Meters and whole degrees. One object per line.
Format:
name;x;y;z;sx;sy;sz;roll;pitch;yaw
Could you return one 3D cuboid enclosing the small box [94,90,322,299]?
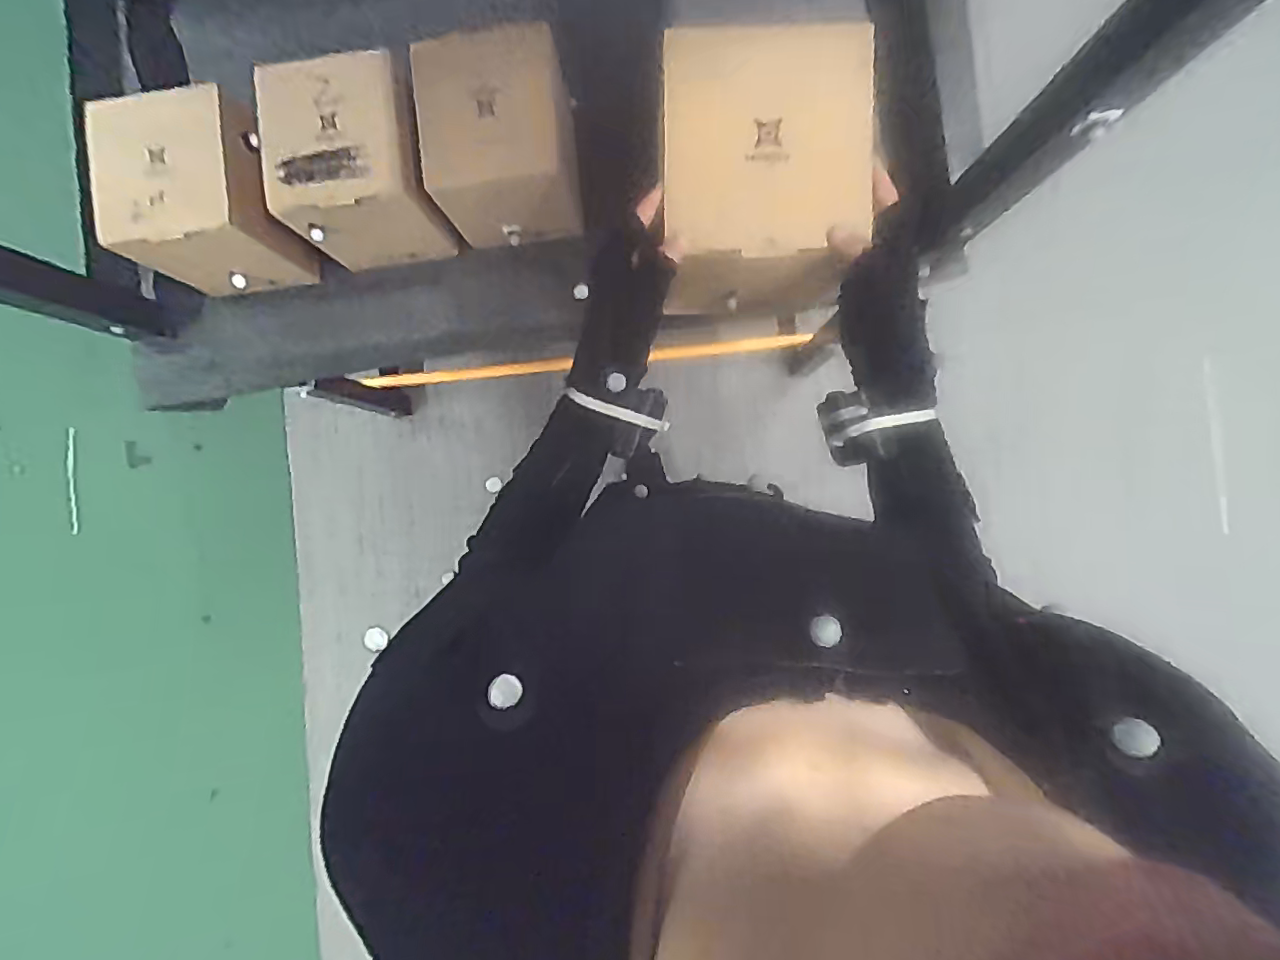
small box;-0.556;-0.364;0.717;0.168;0.176;0.179;-7;88;3
